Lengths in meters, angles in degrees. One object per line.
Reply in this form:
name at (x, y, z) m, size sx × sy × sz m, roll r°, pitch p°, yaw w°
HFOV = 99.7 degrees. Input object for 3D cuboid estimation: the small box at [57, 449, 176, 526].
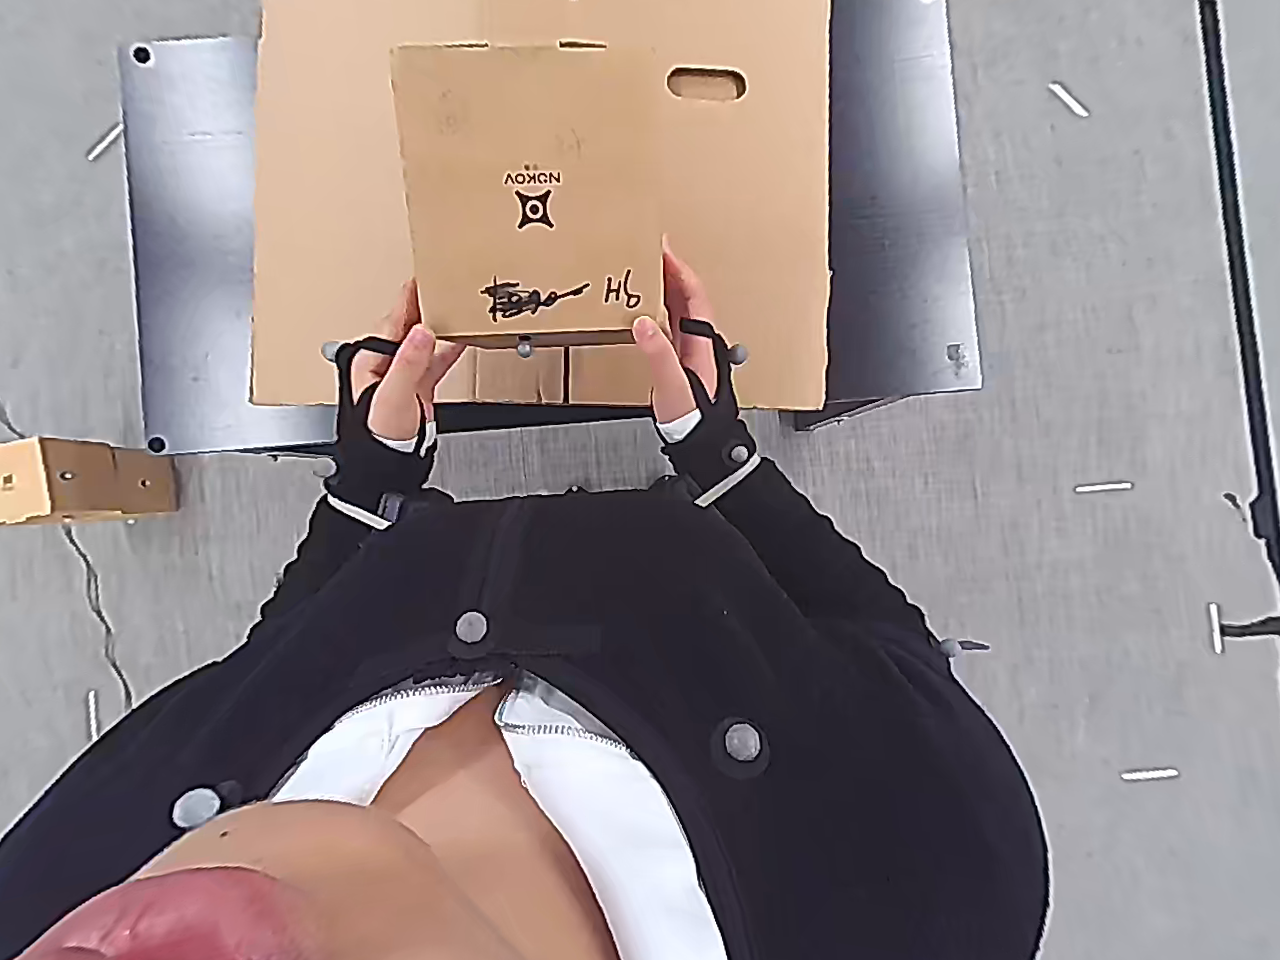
small box at (-1.379, 0.020, 1.423) m, size 0.168 × 0.176 × 0.179 m, roll -9°, pitch 90°, yaw 0°

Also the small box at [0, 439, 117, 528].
small box at (-1.381, 0.011, 1.261) m, size 0.168 × 0.176 × 0.179 m, roll -12°, pitch 88°, yaw -1°

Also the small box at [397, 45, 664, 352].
small box at (-0.073, -0.199, 0.430) m, size 0.168 × 0.176 × 0.179 m, roll -3°, pitch 100°, yaw -3°
